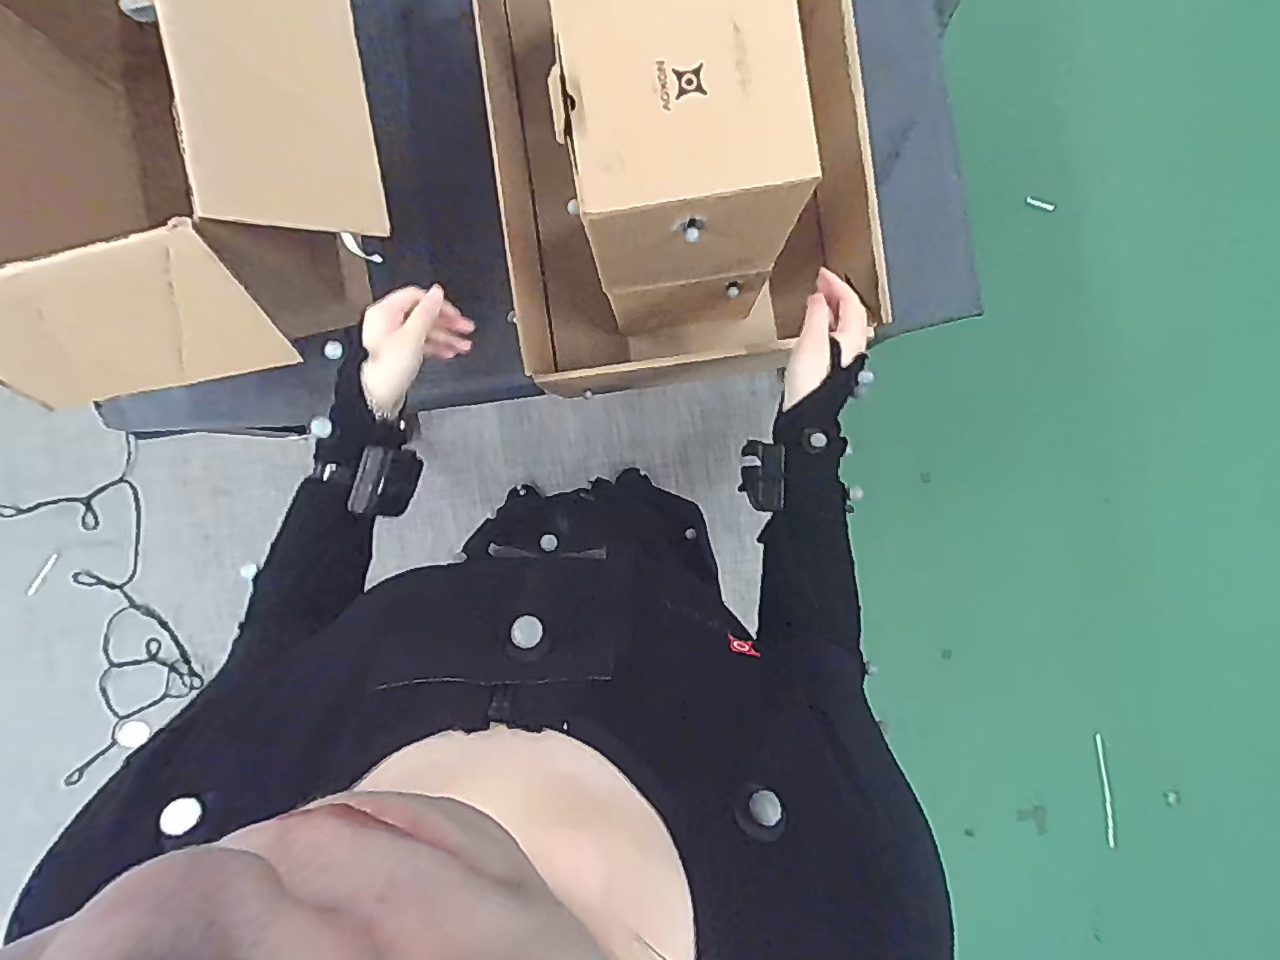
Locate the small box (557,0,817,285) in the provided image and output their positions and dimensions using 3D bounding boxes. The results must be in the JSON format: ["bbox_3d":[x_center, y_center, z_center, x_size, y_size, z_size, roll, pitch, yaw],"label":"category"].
[{"bbox_3d":[0.036,-0.286,0.476,0.179,0.176,0.168,-8,92,1],"label":"small box"}]
